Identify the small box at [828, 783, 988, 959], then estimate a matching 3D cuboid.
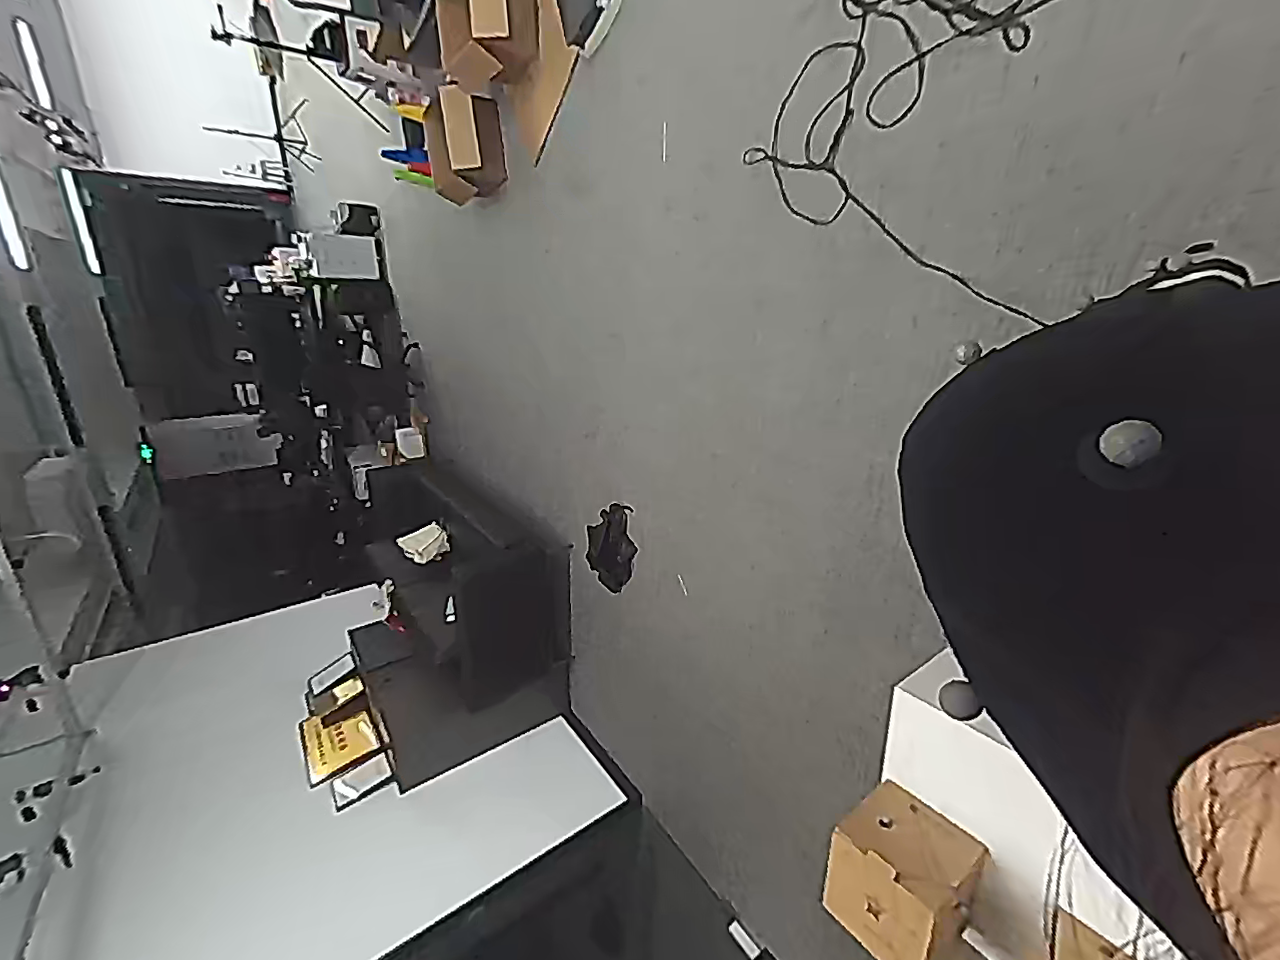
[{"bbox_3d":[0.430,0.637,0.870,0.168,0.176,0.179,22,119,51],"label":"small box"}]
